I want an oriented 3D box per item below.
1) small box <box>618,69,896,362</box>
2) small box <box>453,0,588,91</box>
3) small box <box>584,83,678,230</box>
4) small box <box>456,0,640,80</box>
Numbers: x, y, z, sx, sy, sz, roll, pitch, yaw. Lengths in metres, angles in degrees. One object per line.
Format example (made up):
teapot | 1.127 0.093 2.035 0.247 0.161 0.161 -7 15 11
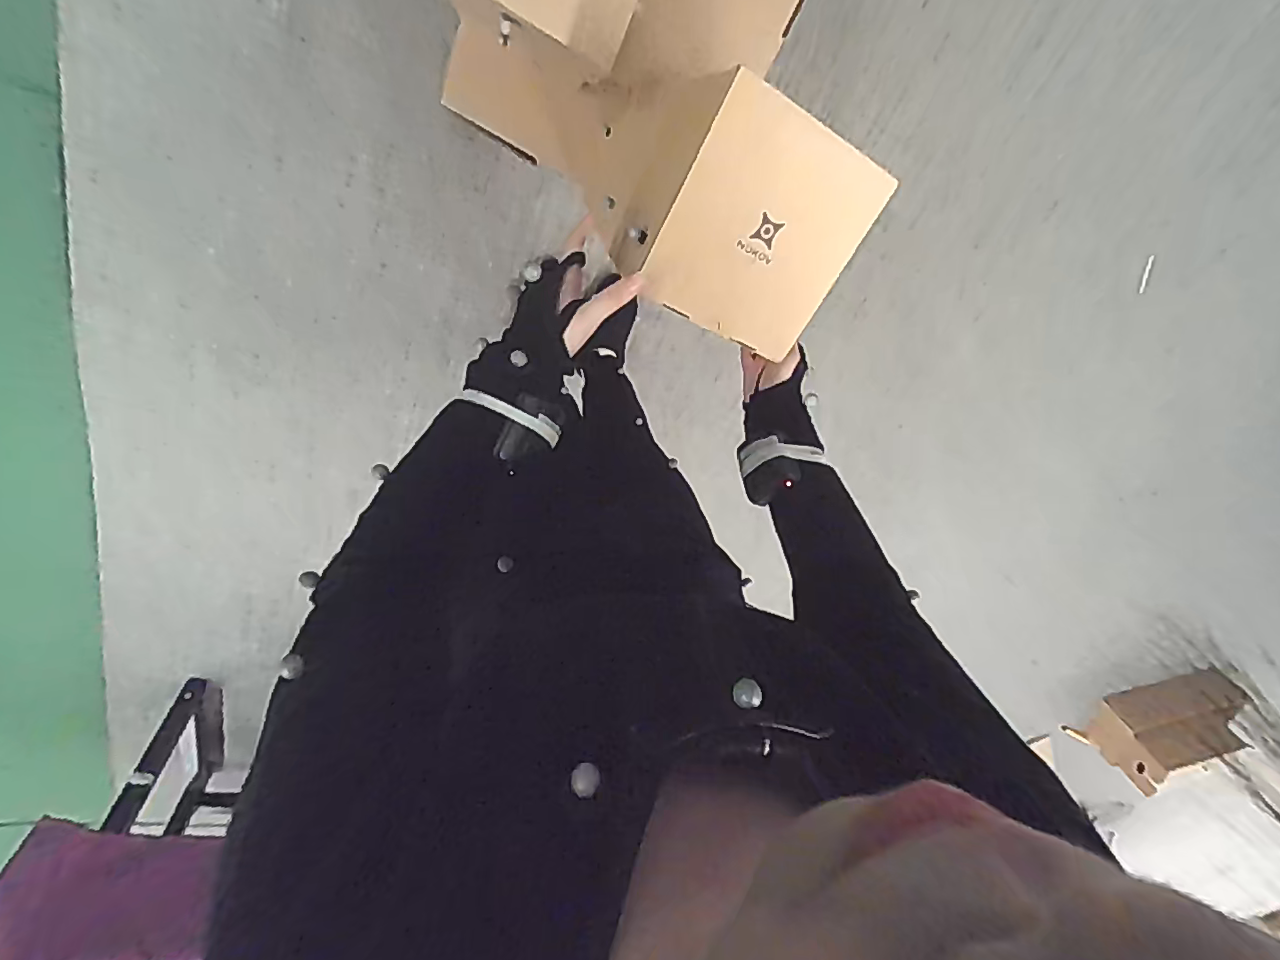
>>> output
small box | 0.090 -0.247 0.516 0.168 0.176 0.179 18 118 -22
small box | -0.111 -0.600 0.637 0.168 0.176 0.179 18 116 -21
small box | 0.033 -0.434 0.776 0.179 0.176 0.168 17 118 -21
small box | -0.079 -0.506 0.503 0.179 0.176 0.168 18 118 -20
